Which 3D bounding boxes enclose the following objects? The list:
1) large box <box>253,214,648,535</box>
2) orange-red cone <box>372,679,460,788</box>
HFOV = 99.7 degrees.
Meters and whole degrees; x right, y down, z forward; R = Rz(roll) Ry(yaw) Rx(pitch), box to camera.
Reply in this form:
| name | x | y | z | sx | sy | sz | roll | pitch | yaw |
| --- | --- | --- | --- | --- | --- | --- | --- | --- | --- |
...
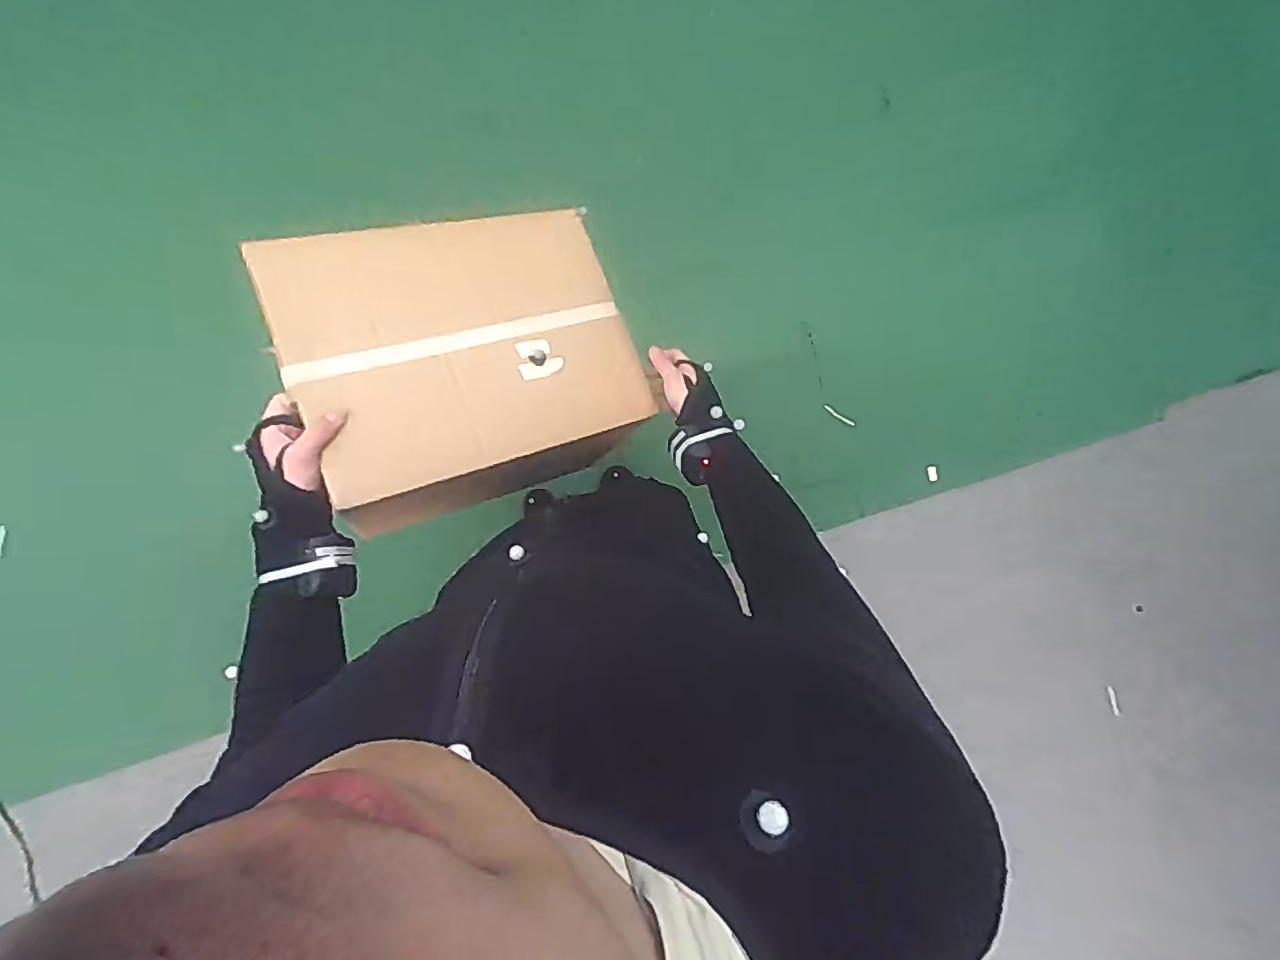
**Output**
| name | x | y | z | sx | sy | sz | roll | pitch | yaw |
| --- | --- | --- | --- | --- | --- | --- | --- | --- | --- |
| large box | -0.269 | -0.145 | 0.808 | 0.408 | 0.320 | 0.320 | -21 | 88 | -27 |
| orange-red cone | -0.614 | 0.687 | 1.403 | 0.199 | 0.360 | 0.198 | -9 | 90 | -6 |
